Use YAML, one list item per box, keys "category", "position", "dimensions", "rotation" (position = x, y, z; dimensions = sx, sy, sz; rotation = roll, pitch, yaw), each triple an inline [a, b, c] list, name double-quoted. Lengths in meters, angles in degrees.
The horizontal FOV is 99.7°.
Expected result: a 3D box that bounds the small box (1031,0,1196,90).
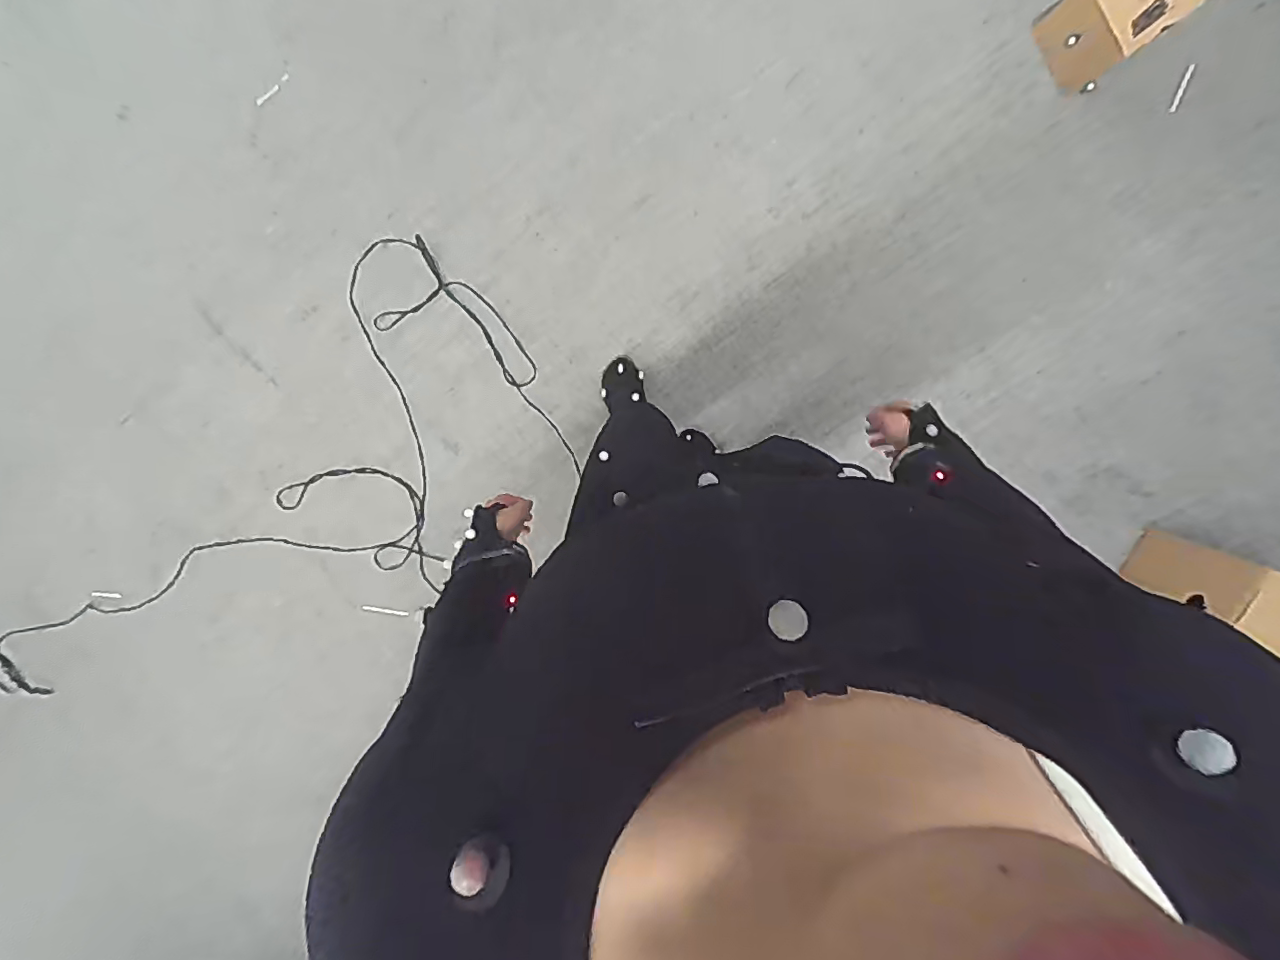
- category: "small box"
  position: [0.992, -0.977, 1.149]
  dimensions: [0.168, 0.176, 0.179]
  rotation: [-34, 98, 10]
